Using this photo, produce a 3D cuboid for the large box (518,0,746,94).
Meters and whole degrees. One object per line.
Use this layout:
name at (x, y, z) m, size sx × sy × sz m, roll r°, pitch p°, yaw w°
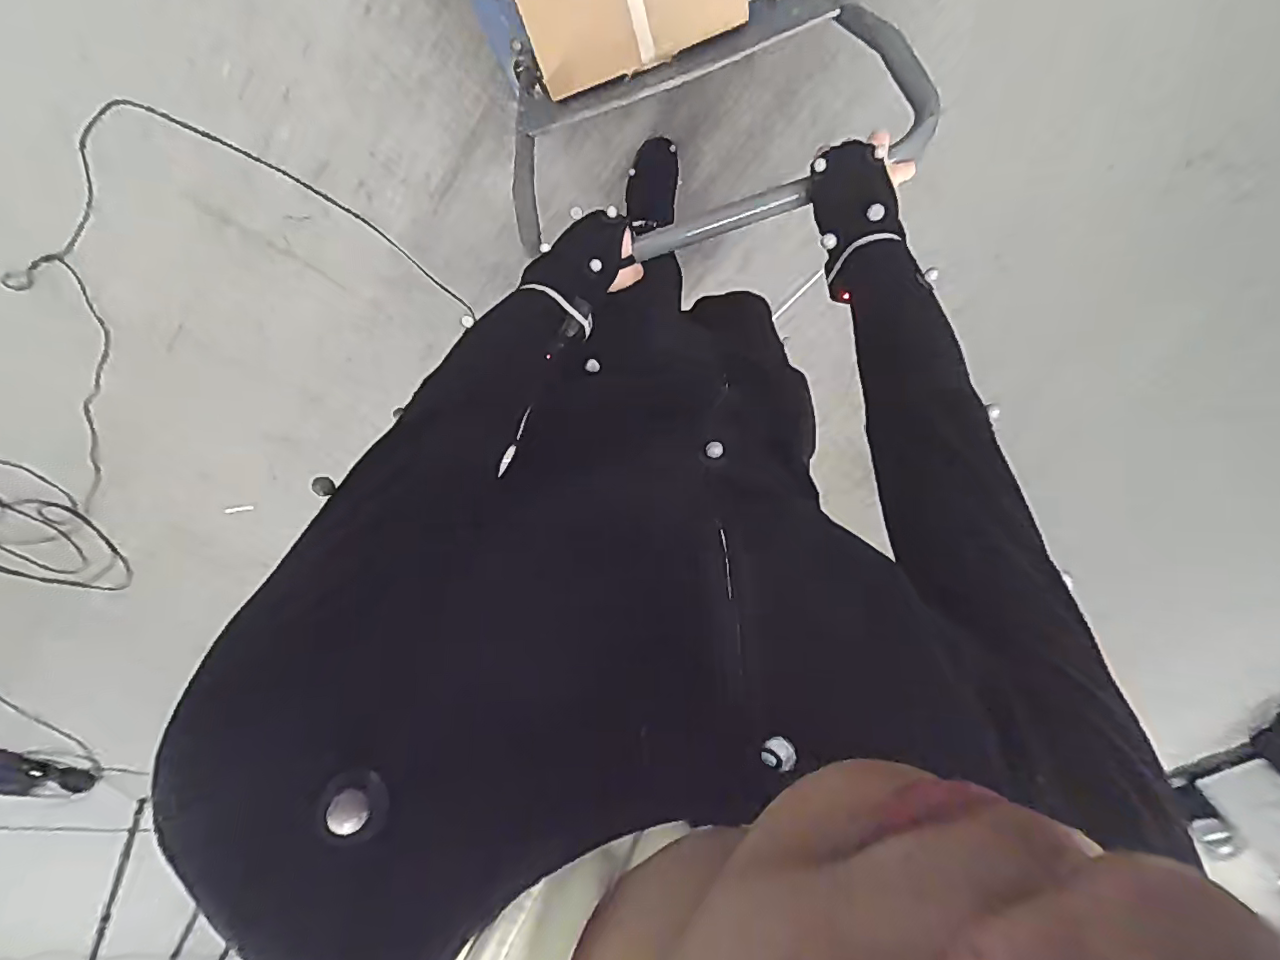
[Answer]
large box at (-0.060, -0.875, 0.783) m, size 0.320 × 0.320 × 0.408 m, roll -16°, pitch 136°, yaw 9°
